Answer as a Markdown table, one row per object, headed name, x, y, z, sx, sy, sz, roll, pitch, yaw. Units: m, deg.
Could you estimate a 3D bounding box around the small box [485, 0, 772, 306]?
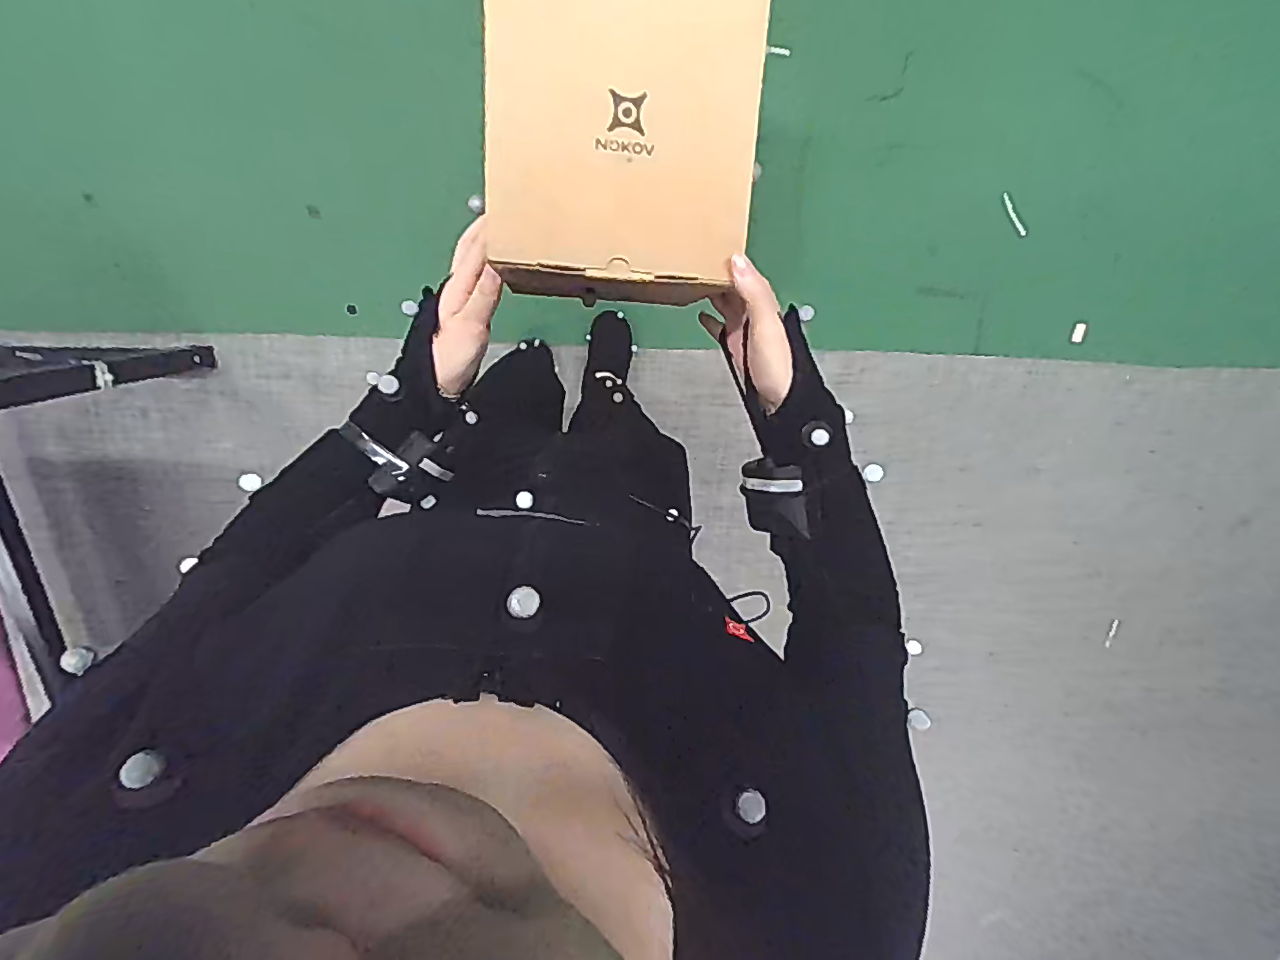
| name | x | y | z | sx | sy | sz | roll | pitch | yaw |
| --- | --- | --- | --- | --- | --- | --- | --- | --- | --- |
| small box | -0.020 | -0.231 | 0.396 | 0.168 | 0.176 | 0.179 | 1 | 104 | -9 |
